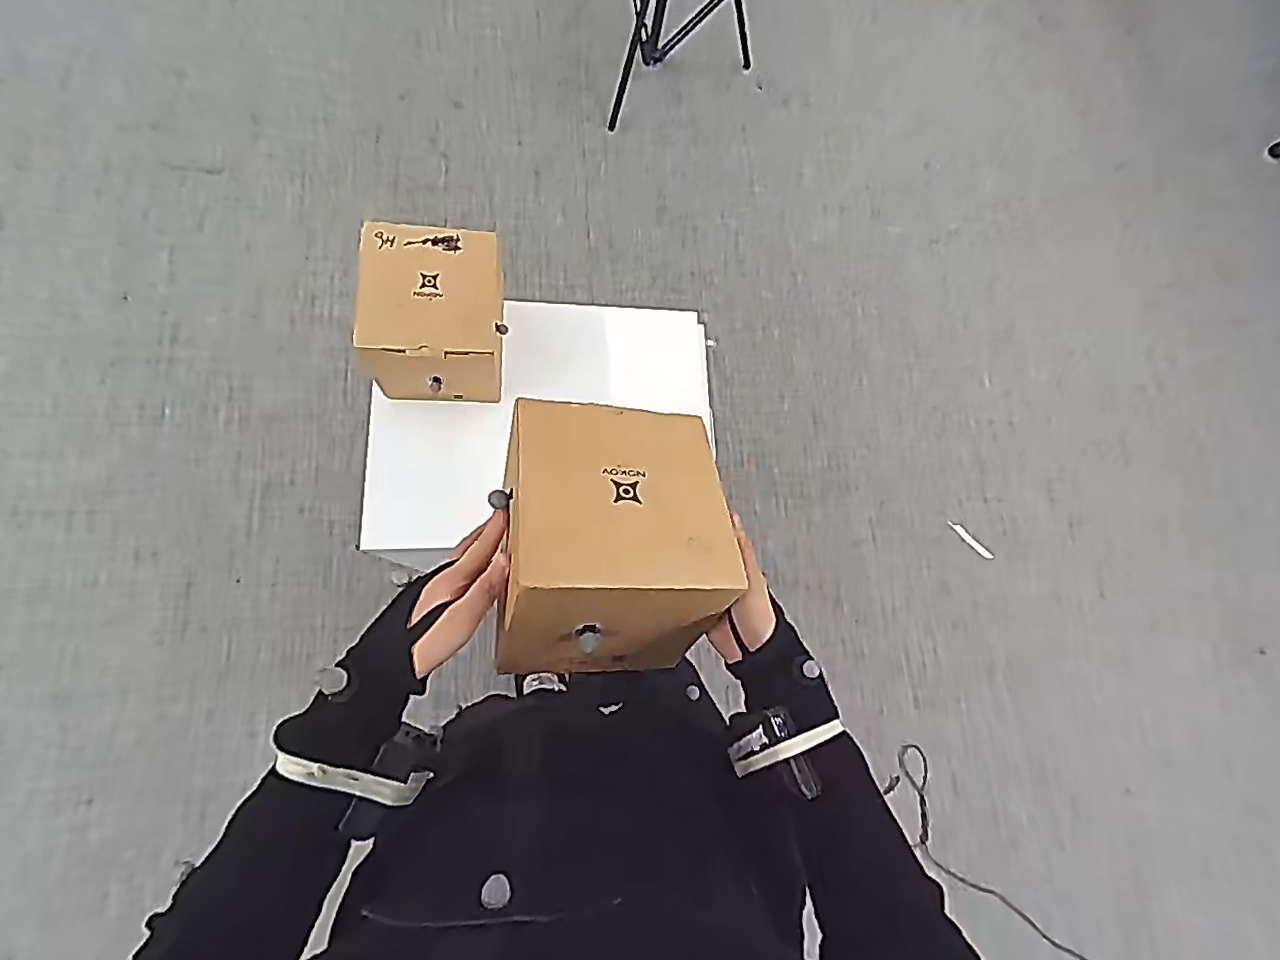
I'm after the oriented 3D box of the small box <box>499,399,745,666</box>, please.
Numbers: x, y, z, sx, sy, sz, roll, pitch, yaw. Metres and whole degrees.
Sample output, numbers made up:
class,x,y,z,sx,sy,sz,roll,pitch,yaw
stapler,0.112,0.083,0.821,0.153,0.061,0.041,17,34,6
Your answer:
class,x,y,z,sx,sy,sz,roll,pitch,yaw
small box,-0.032,0.054,0.479,0.168,0.176,0.179,3,50,-18

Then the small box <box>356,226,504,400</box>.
class,x,y,z,sx,sy,sz,roll,pitch,yaw
small box,-0.278,-0.218,0.753,0.168,0.176,0.179,0,78,-12
